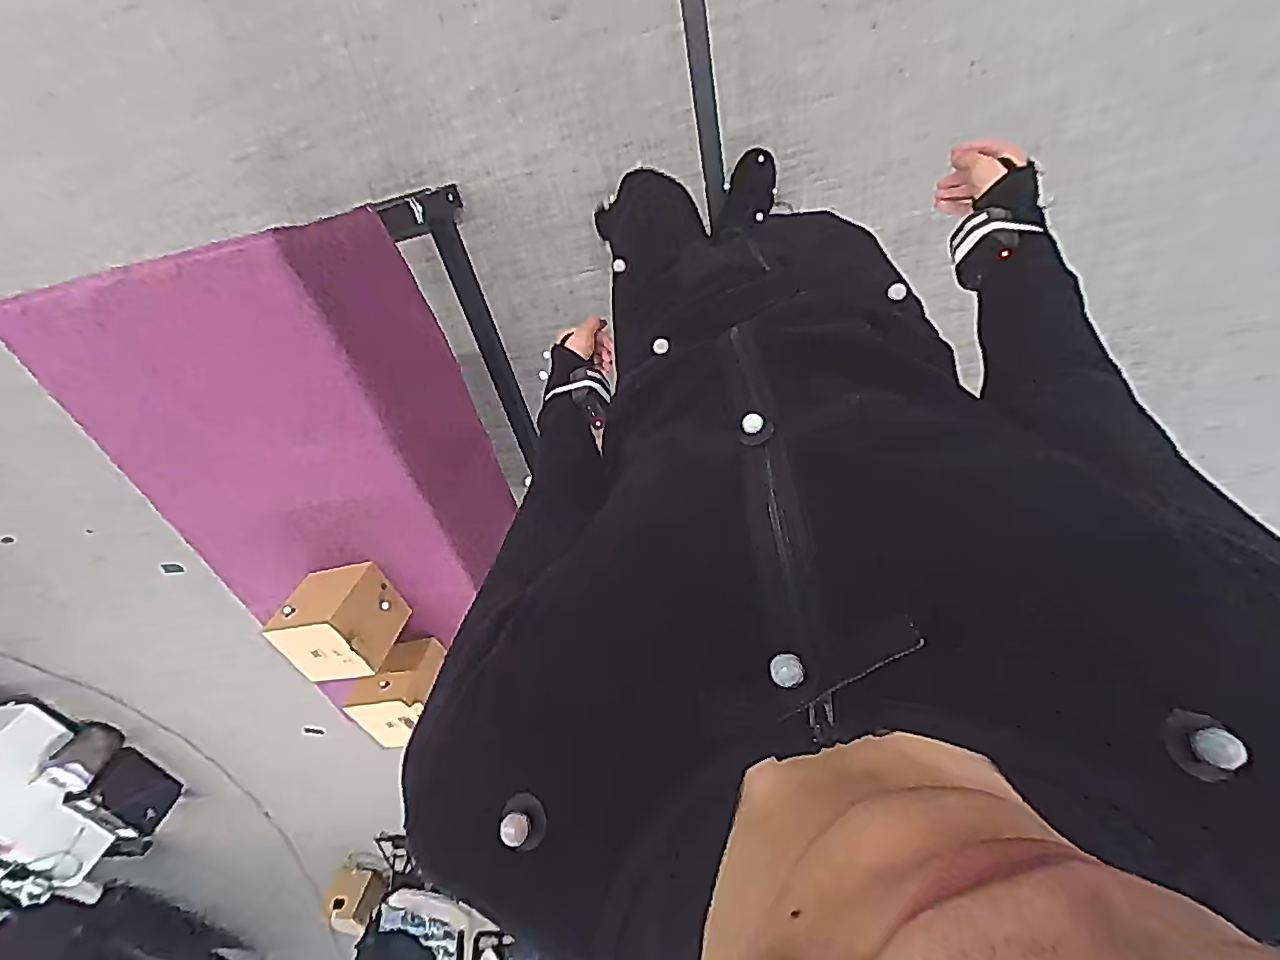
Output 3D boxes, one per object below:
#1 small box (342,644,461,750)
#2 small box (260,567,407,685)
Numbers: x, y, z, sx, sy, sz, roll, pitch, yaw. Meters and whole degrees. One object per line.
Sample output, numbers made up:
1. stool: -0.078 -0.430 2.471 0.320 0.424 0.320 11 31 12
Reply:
1. small box: -0.551 0.512 1.285 0.179 0.176 0.168 -15 121 17
2. small box: -0.642 0.309 1.156 0.179 0.176 0.168 -12 123 14
